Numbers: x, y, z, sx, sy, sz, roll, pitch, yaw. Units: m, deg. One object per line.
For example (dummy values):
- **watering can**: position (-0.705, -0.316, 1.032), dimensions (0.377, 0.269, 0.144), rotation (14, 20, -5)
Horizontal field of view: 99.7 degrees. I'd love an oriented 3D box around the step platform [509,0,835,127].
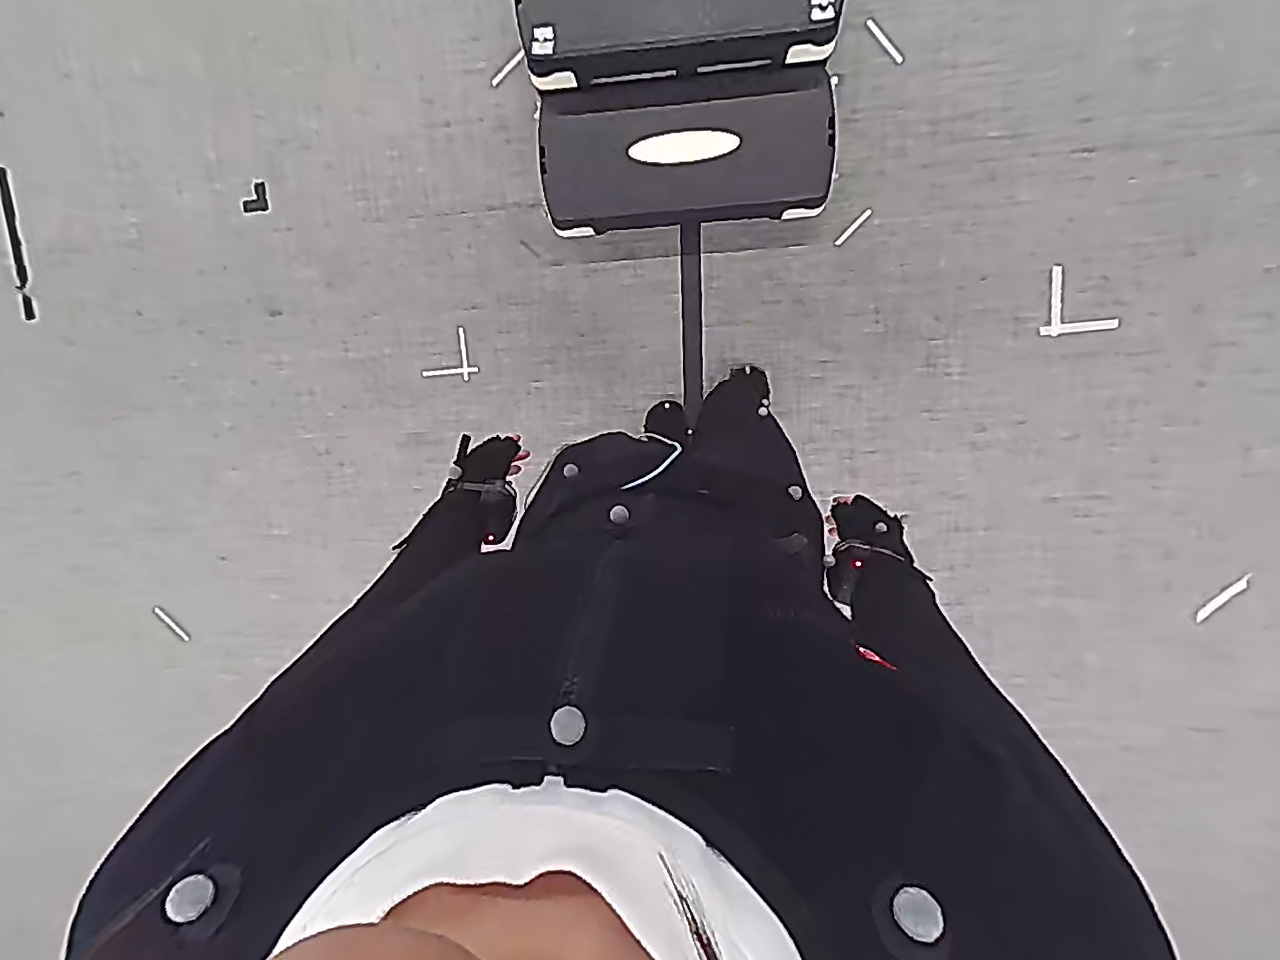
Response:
- **step platform**: position (0.065, -0.998, 1.174), dimensions (0.684, 0.204, 0.286), rotation (-3, 100, 5)
